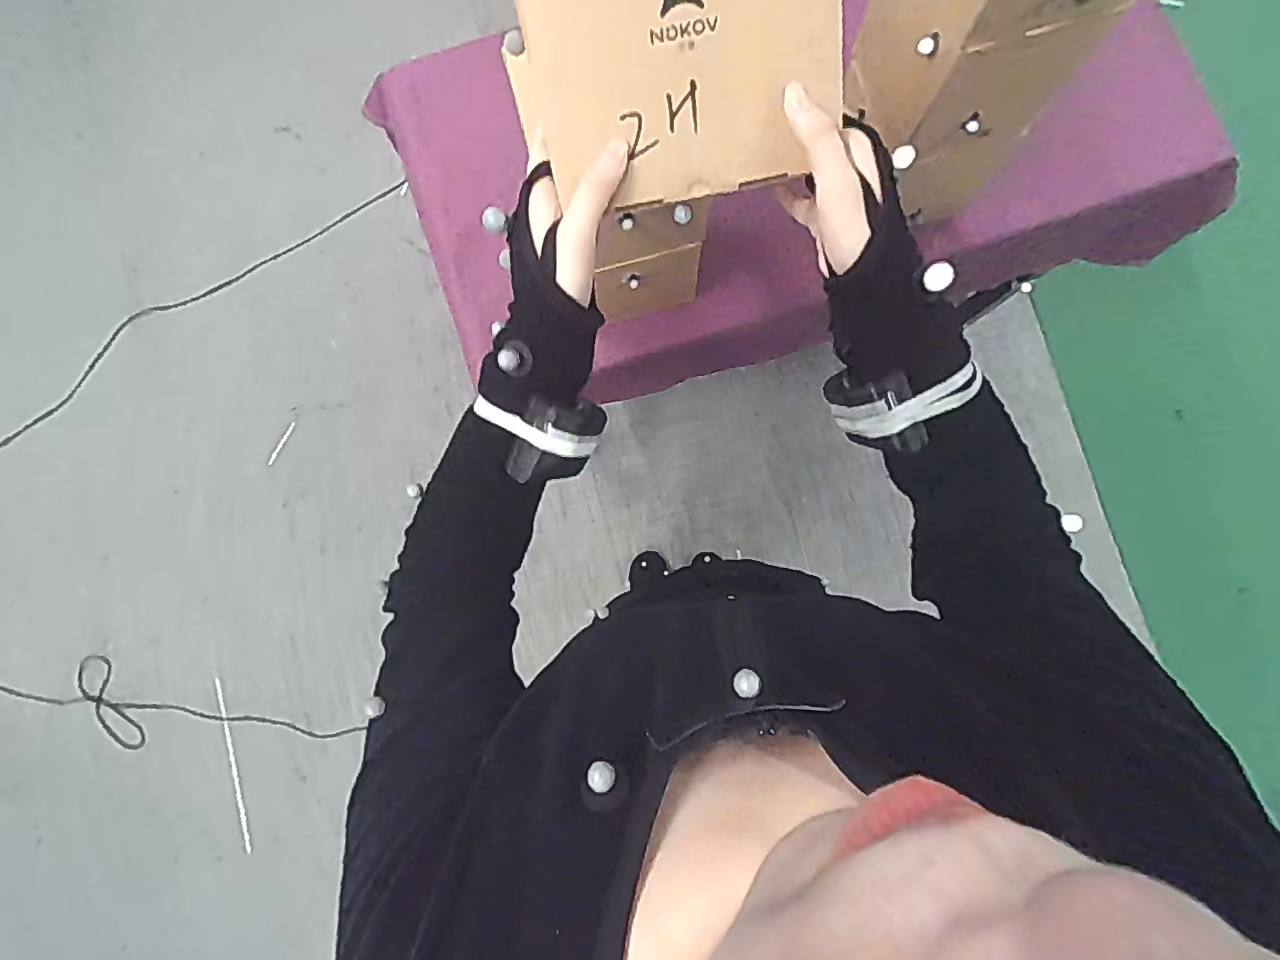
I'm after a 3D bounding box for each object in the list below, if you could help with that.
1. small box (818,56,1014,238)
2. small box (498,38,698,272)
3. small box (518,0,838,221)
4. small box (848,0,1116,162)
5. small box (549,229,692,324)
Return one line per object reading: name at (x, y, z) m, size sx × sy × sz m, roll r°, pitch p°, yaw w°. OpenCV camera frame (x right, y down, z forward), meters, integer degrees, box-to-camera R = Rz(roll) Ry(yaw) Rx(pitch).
small box at (0.367, -0.476, 0.762) m, size 0.179 × 0.176 × 0.168 m, roll -16°, pitch 83°, yaw 0°
small box at (-0.034, -0.363, 0.604) m, size 0.179 × 0.176 × 0.168 m, roll -16°, pitch 84°, yaw 2°
small box at (0.018, -0.277, 0.351) m, size 0.168 × 0.176 × 0.179 m, roll -9°, pitch 117°, yaw 4°
small box at (0.355, -0.503, 0.601) m, size 0.168 × 0.176 × 0.179 m, roll -16°, pitch 84°, yaw 1°
small box at (-0.032, -0.342, 0.767) m, size 0.179 × 0.176 × 0.168 m, roll -15°, pitch 84°, yaw 0°
